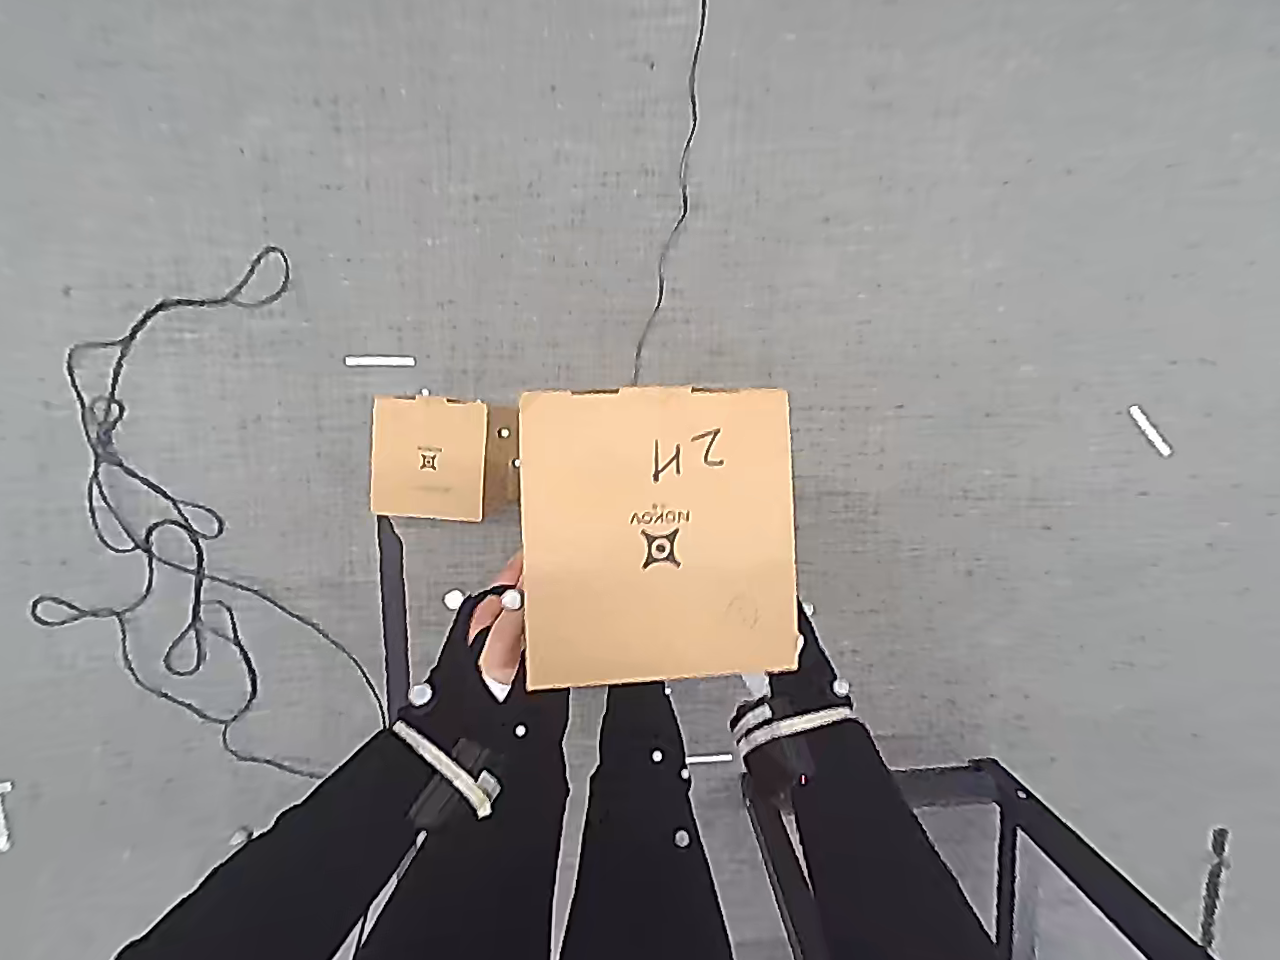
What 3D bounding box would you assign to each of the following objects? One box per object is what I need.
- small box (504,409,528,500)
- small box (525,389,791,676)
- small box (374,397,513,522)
[{"bbox_3d":[-0.314,-0.050,1.030,0.179,0.176,0.168,-1,96,-1],"label":"small box"},{"bbox_3d":[0.004,0.032,0.418,0.168,0.176,0.179,-3,88,-8],"label":"small box"},{"bbox_3d":[-0.305,-0.037,0.867,0.168,0.176,0.179,3,97,-1],"label":"small box"}]
